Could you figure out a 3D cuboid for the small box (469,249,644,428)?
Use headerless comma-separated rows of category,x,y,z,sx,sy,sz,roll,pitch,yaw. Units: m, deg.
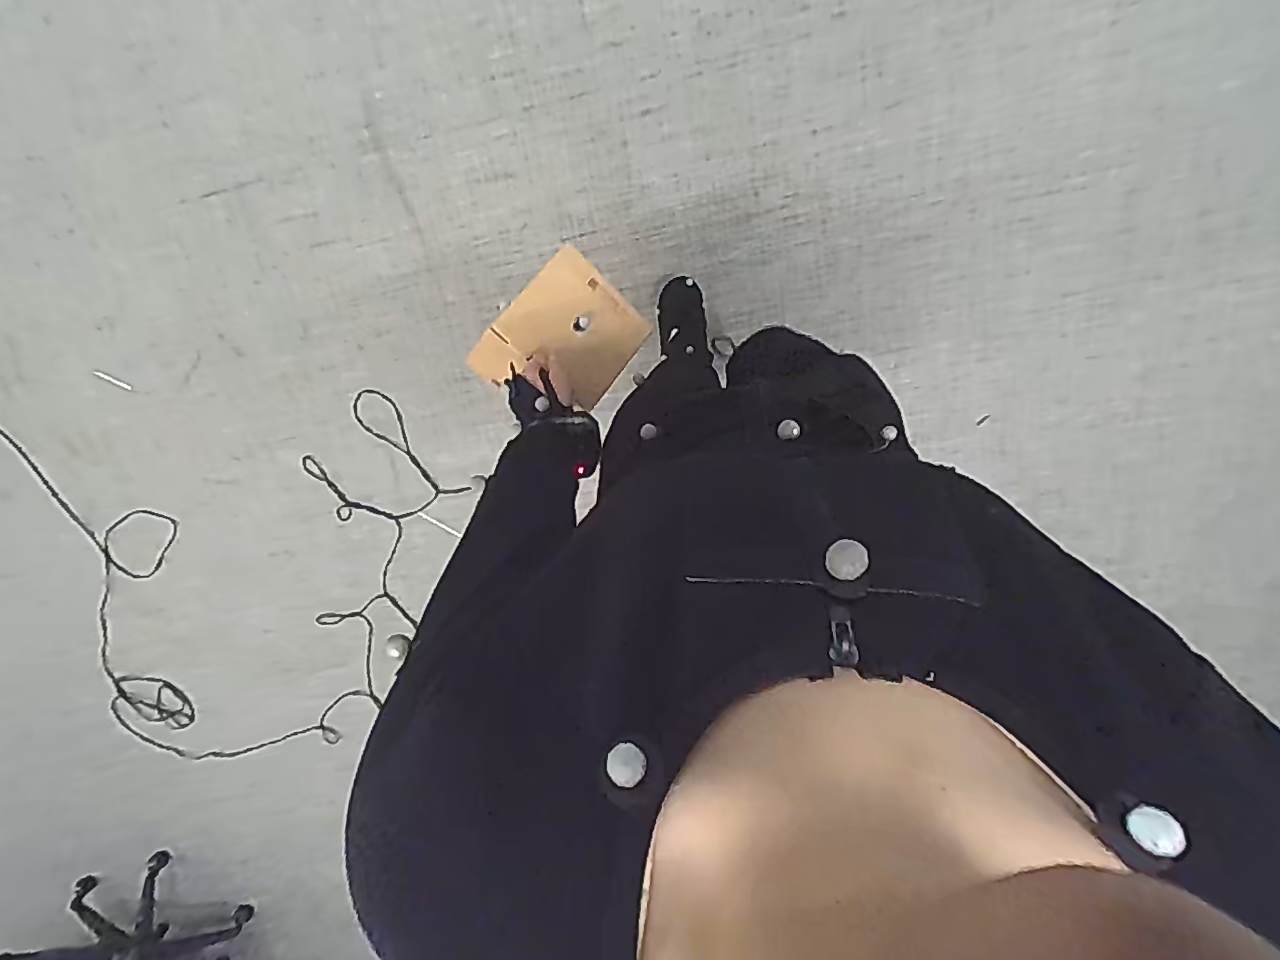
small box,-0.119,-0.200,0.792,0.168,0.179,0.176,40,70,-20
